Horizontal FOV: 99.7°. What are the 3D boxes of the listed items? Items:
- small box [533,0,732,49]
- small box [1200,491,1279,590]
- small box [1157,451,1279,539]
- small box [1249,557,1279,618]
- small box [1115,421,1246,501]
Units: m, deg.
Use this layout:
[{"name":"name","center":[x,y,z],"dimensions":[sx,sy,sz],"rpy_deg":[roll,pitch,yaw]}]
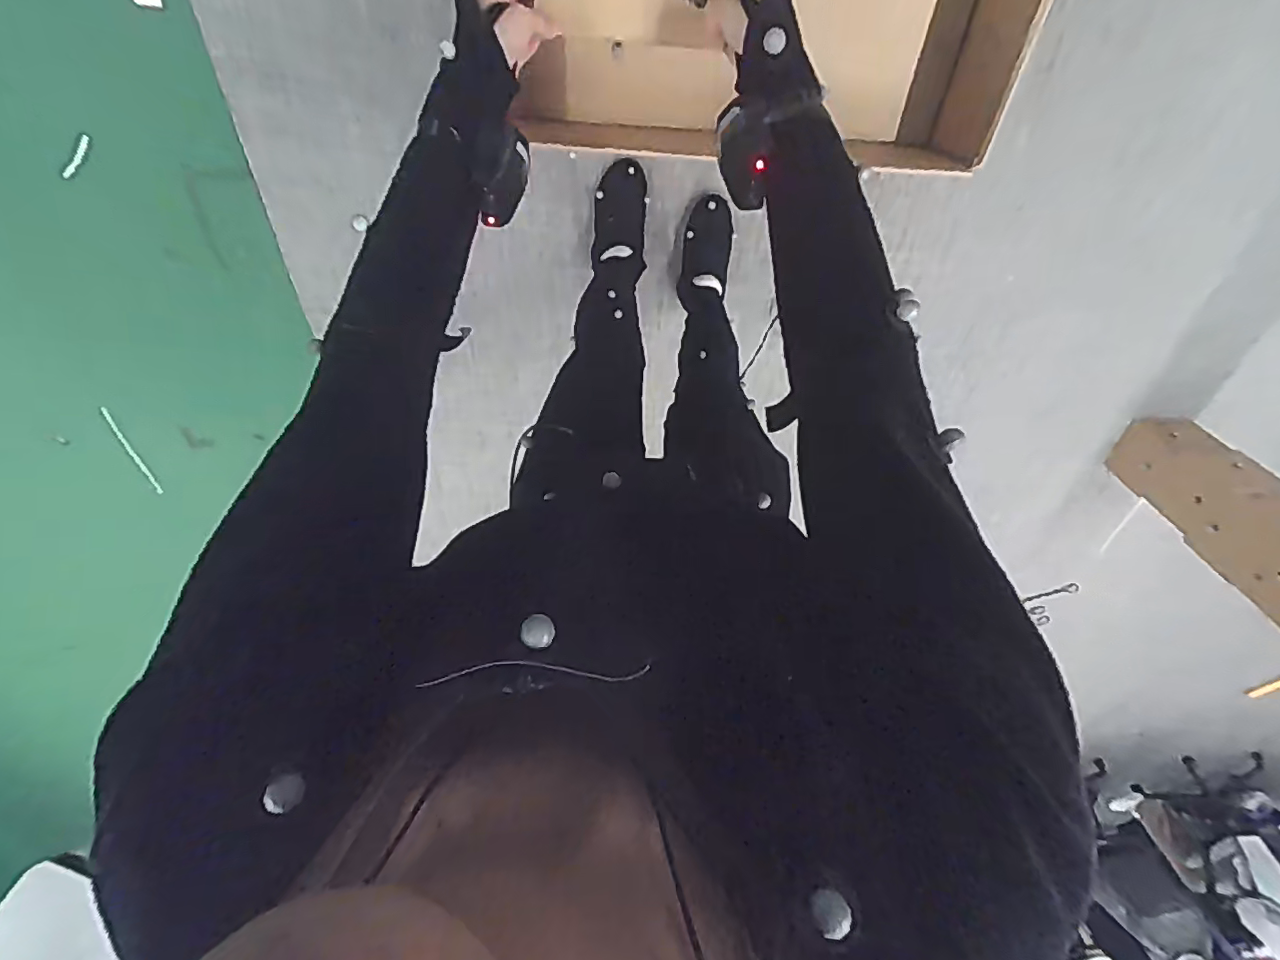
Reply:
[{"name":"small box","center":[-0.008,-0.511,0.492],"dimensions":[0.179,0.176,0.168],"rpy_deg":[1,130,-7]},{"name":"small box","center":[1.527,0.146,1.300],"dimensions":[0.168,0.176,0.179],"rpy_deg":[-1,130,1]},{"name":"small box","center":[1.541,0.039,1.423],"dimensions":[0.168,0.176,0.179],"rpy_deg":[1,129,0]},{"name":"small box","center":[1.524,0.245,1.171],"dimensions":[0.179,0.176,0.168],"rpy_deg":[0,129,1]},{"name":"small box","center":[1.539,-0.057,1.556],"dimensions":[0.168,0.176,0.179],"rpy_deg":[0,130,-1]}]
